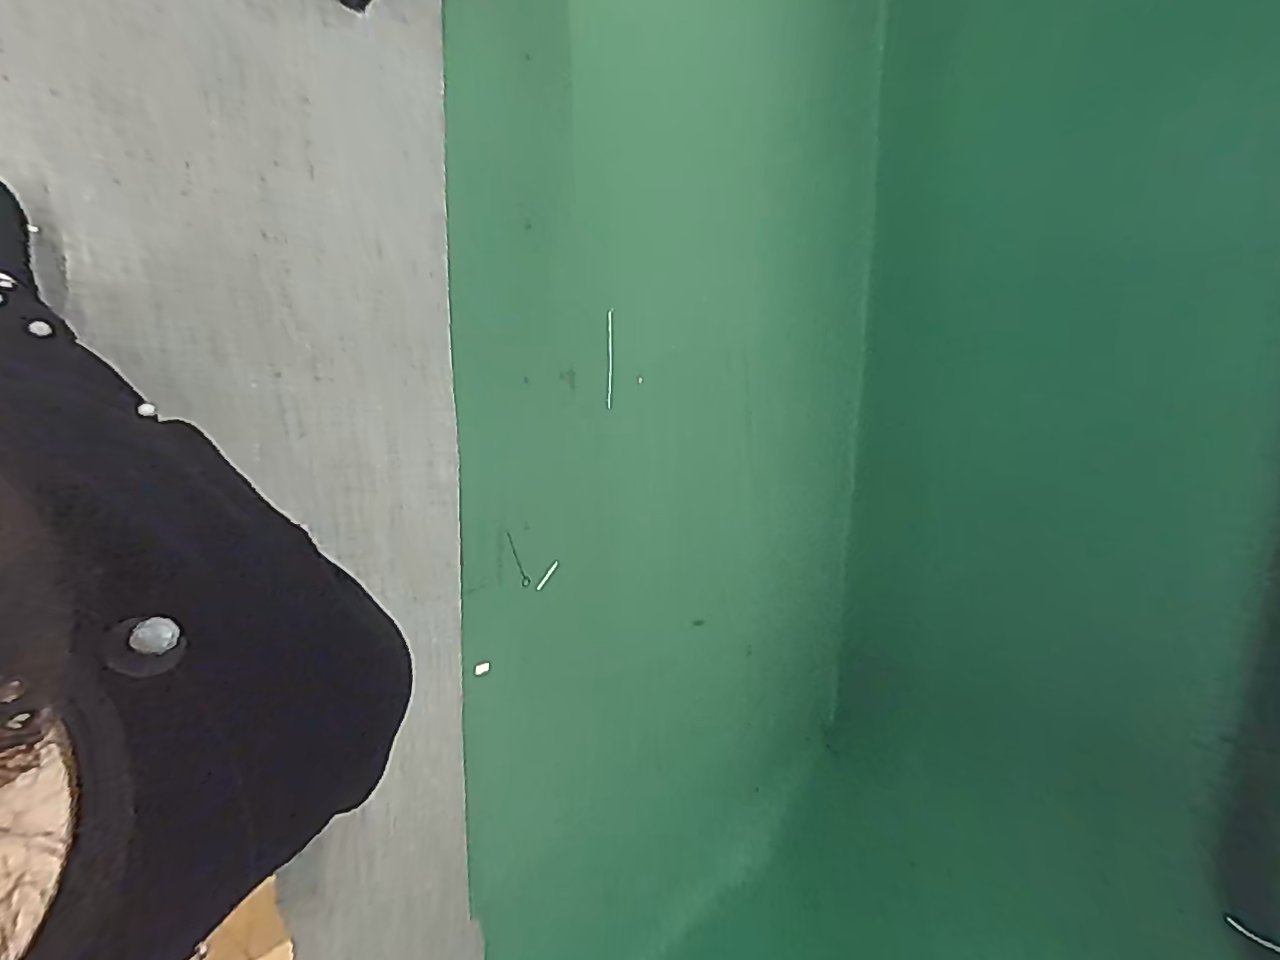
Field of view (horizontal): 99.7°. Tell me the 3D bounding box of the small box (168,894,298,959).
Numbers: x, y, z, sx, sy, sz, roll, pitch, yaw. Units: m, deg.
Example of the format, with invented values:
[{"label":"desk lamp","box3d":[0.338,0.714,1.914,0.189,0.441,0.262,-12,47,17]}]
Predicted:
[{"label":"small box","box3d":[-0.755,0.922,1.002,0.168,0.176,0.179,-3,100,-47]}]
